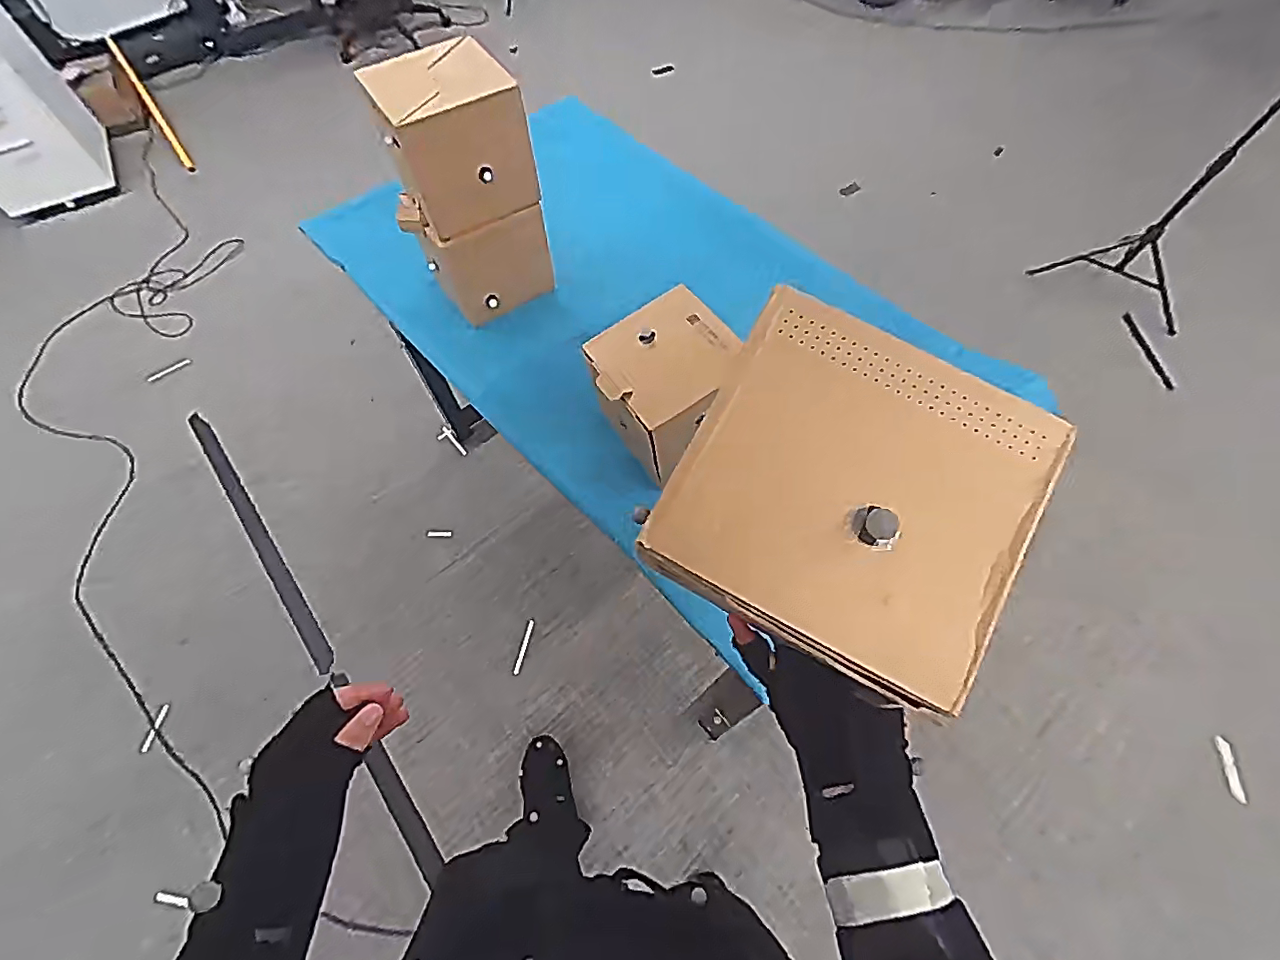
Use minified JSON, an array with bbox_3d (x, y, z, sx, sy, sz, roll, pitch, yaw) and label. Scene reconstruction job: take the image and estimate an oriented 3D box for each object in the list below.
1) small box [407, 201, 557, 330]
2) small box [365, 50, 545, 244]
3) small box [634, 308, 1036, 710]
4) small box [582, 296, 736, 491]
[{"bbox_3d":[-0.270,-0.402,0.936,0.179,0.176,0.168,-33,66,-16],"label":"small box"},{"bbox_3d":[-0.268,-0.494,0.798,0.179,0.176,0.168,-30,65,-13],"label":"small box"},{"bbox_3d":[0.111,0.017,0.364,0.179,0.168,0.176,29,80,5],"label":"small box"},{"bbox_3d":[0.046,-0.121,0.761,0.176,0.179,0.168,-33,66,-8],"label":"small box"}]
